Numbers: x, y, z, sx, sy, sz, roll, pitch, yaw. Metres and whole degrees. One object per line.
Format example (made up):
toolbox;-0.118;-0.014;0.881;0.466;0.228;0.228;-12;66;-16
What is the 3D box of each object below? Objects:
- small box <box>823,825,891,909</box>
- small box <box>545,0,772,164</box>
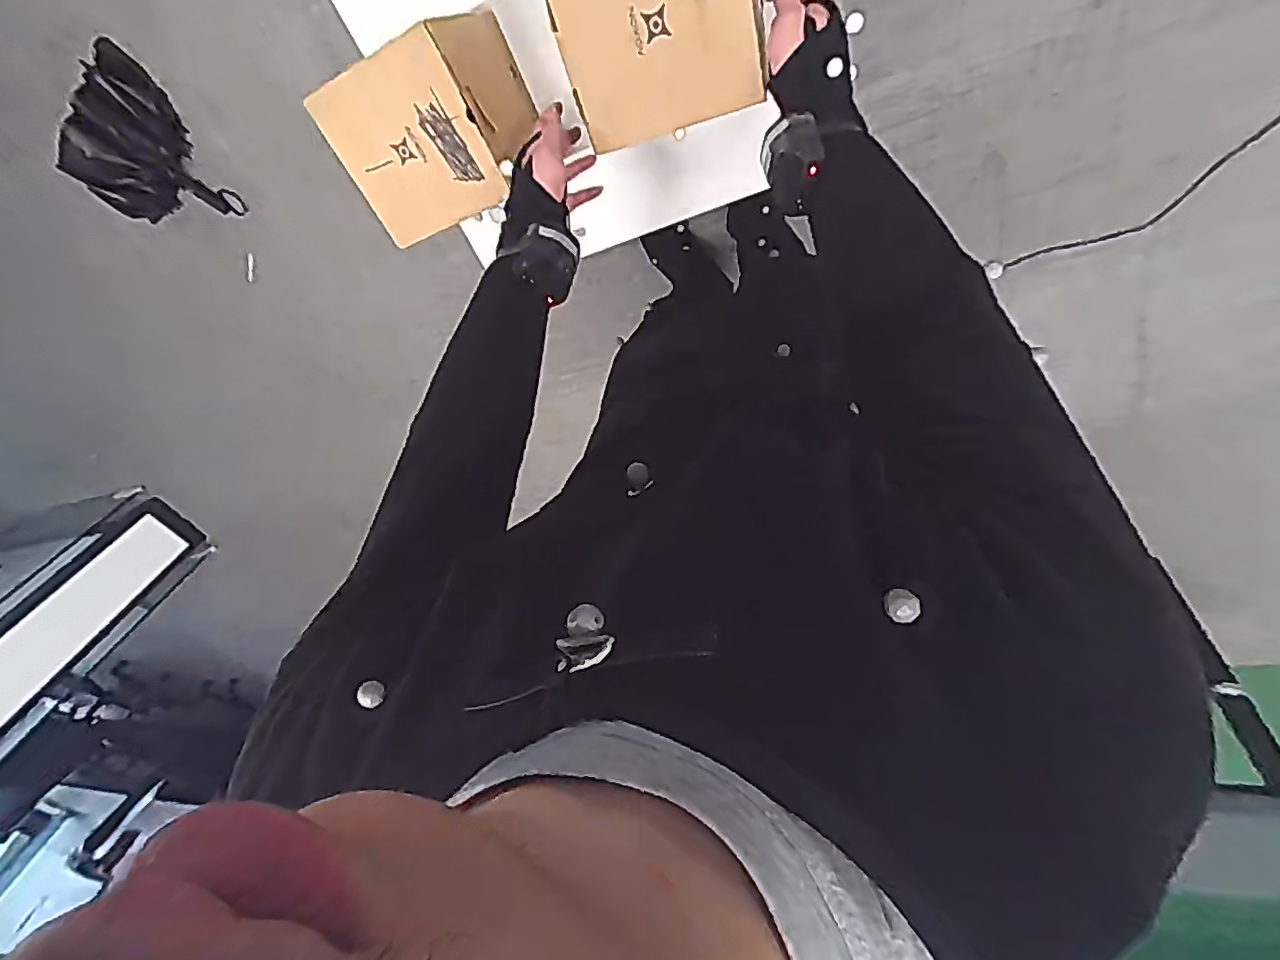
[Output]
small box;0.669;1.195;1.675;0.179;0.176;0.168;-7;129;20
small box;0.030;-0.443;0.535;0.179;0.176;0.168;-7;131;20
